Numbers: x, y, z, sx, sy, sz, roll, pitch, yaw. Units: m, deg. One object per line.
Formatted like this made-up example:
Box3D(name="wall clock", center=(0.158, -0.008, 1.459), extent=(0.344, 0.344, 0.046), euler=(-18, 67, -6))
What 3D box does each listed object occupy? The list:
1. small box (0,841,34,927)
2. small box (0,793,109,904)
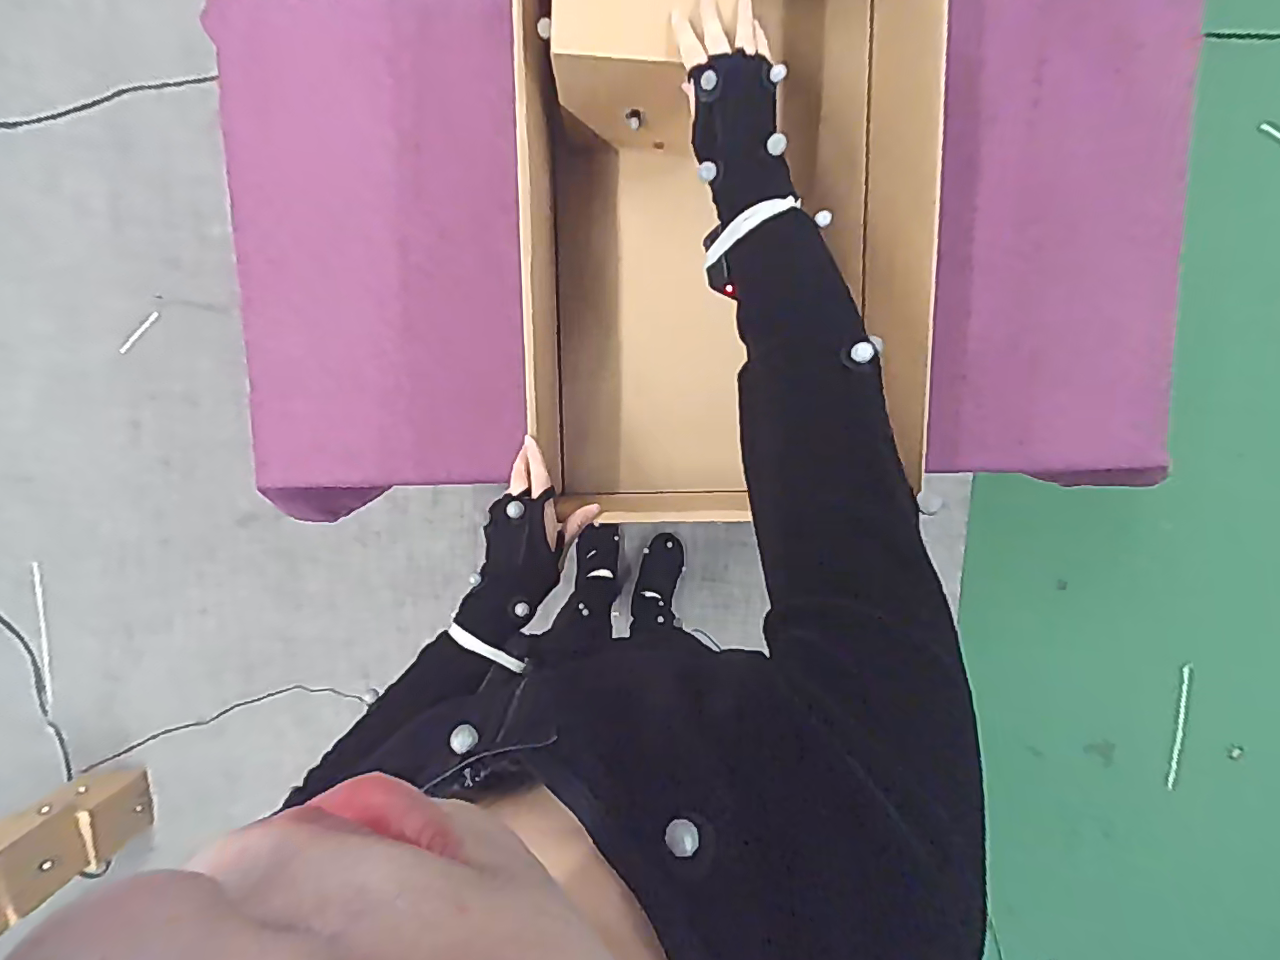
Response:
Box3D(name="small box", center=(-1.501, 0.924, 1.169), extent=(0.179, 0.176, 0.168), euler=(-8, 96, 1))
Box3D(name="small box", center=(-1.483, 0.904, 1.331), extent=(0.168, 0.176, 0.179), euler=(-11, 97, 2))
